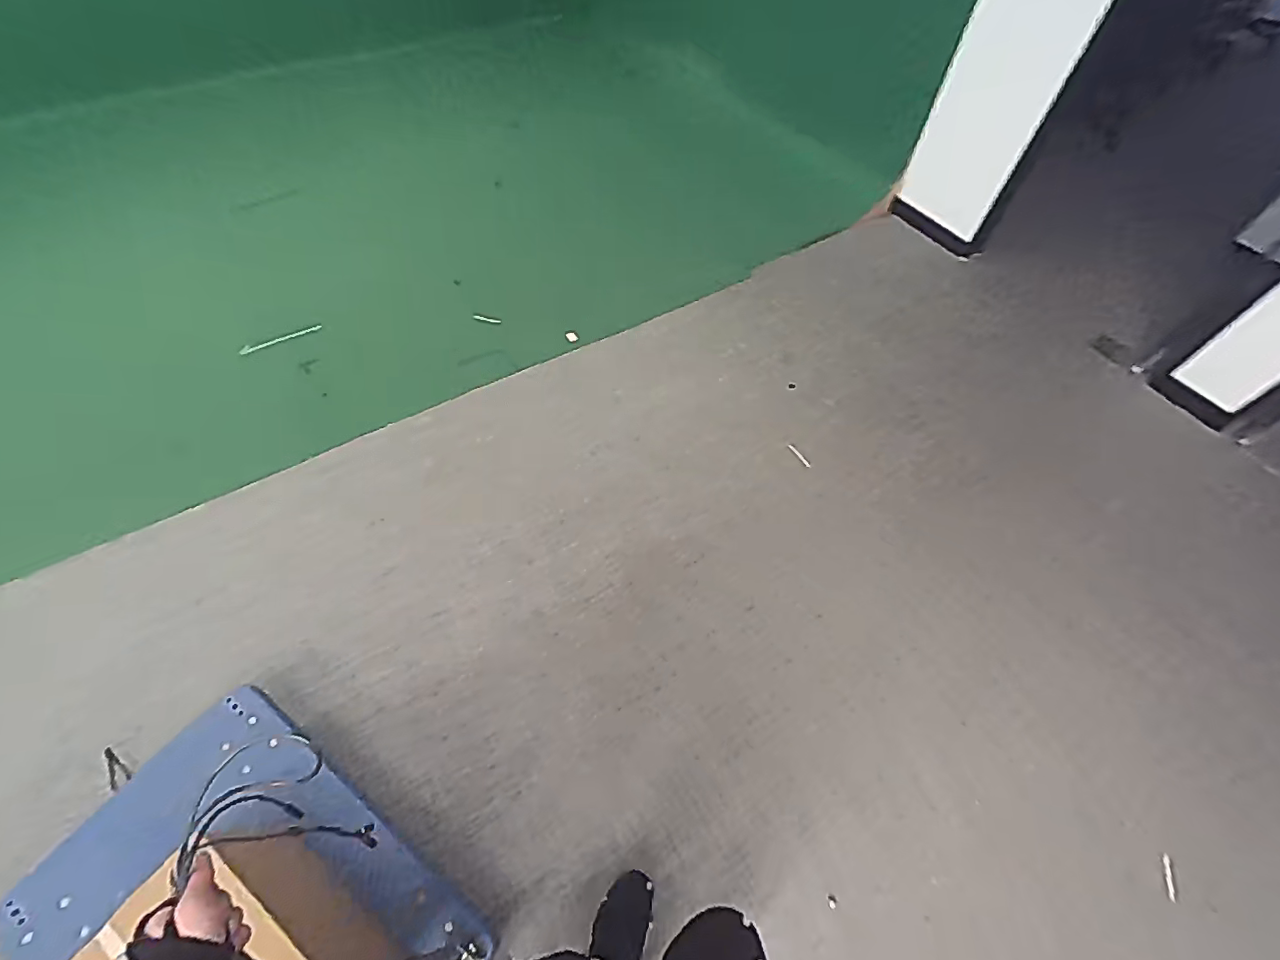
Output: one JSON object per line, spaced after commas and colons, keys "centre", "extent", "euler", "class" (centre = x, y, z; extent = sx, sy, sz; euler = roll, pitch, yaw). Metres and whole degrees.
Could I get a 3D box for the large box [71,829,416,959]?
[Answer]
{"centre": [-0.674, 0.872, 0.917], "extent": [0.408, 0.320, 0.320], "euler": [31, 62, 18], "class": "large box"}
